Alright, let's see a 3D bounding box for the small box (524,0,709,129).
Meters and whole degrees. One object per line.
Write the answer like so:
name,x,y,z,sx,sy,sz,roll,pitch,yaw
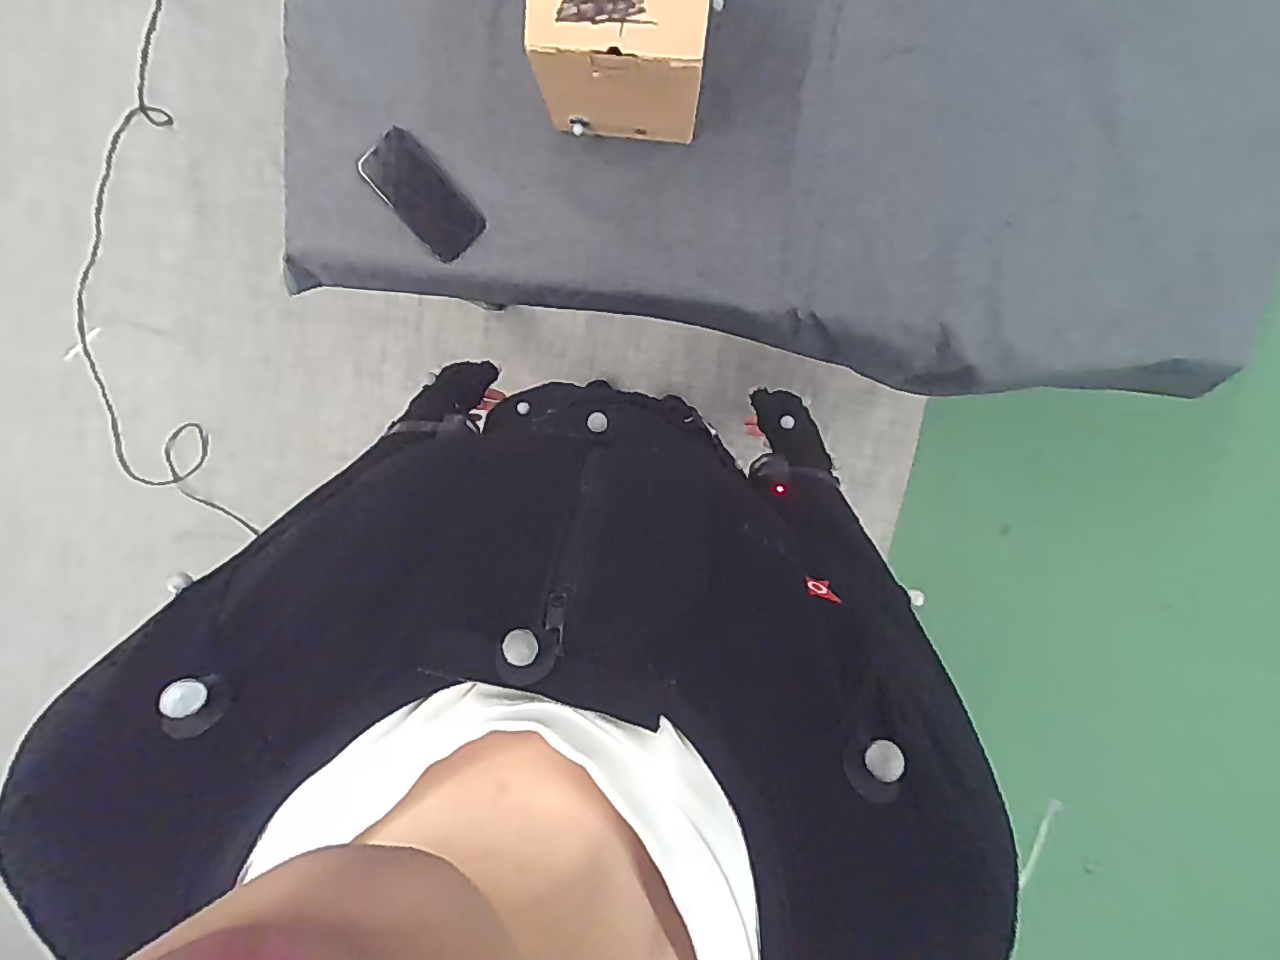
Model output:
small box,-0.013,-0.491,0.550,0.168,0.176,0.179,6,100,0
